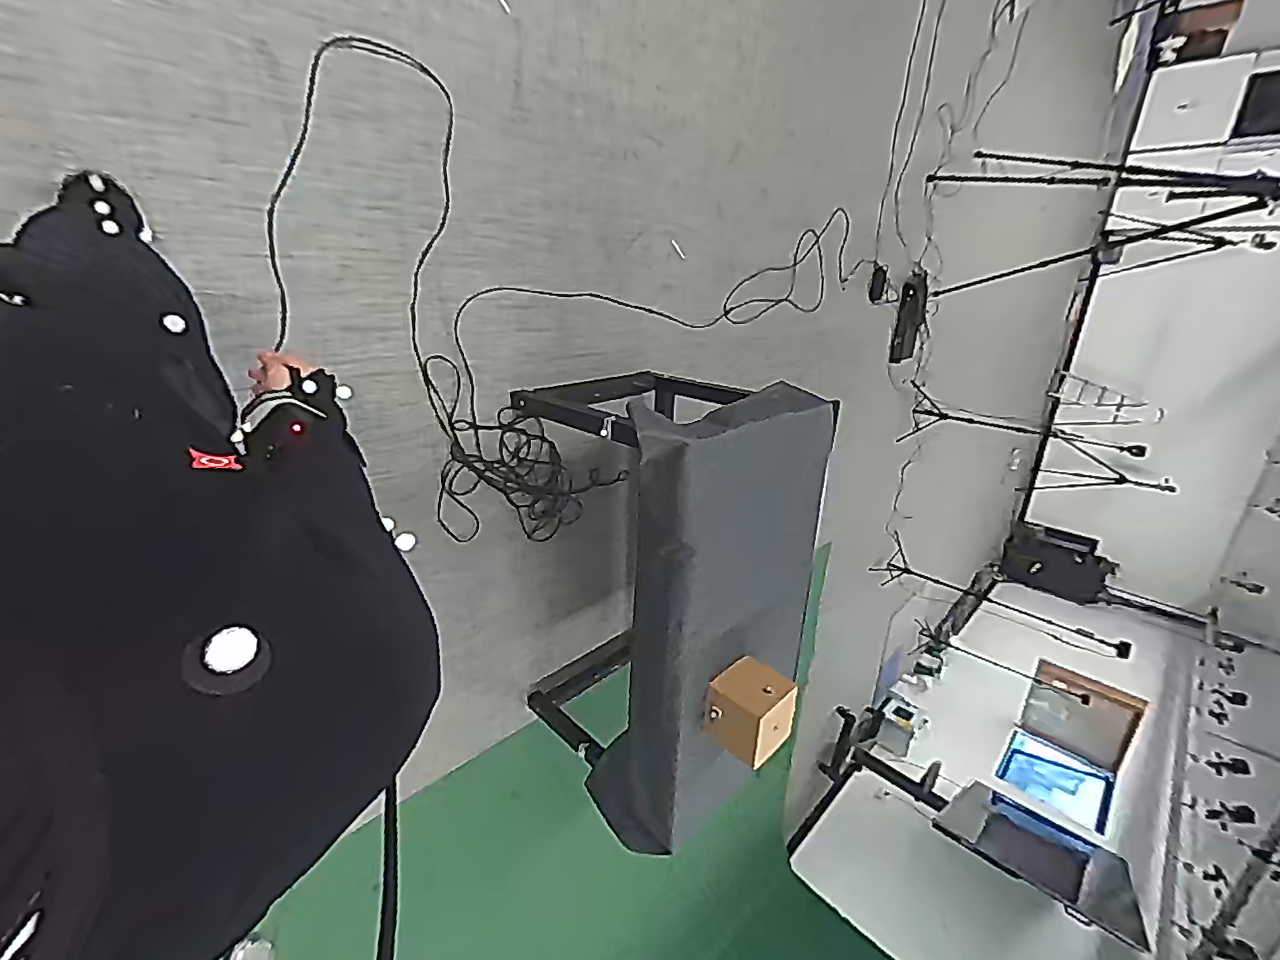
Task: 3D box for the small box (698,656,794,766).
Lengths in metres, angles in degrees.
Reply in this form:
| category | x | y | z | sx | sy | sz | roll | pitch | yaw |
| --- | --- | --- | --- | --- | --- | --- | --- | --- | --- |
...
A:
| category | x | y | z | sx | sy | sz | roll | pitch | yaw |
| --- | --- | --- | --- | --- | --- | --- | --- | --- | --- |
| small box | 0.277 | 0.594 | 1.421 | 0.179 | 0.176 | 0.168 | -16 | 117 | -42 |
